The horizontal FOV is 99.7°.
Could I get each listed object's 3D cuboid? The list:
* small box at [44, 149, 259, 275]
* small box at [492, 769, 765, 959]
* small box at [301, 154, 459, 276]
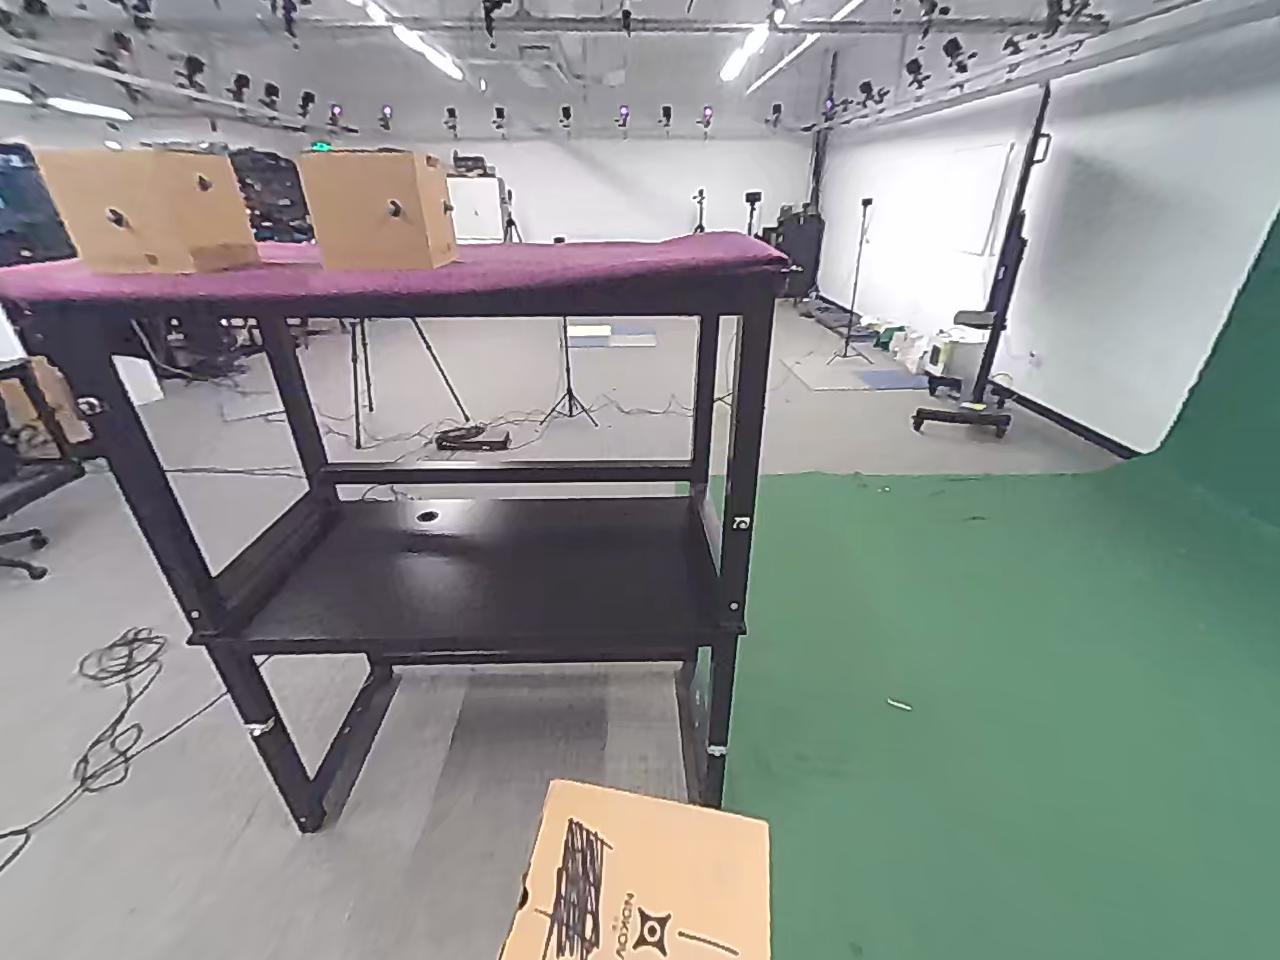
[{"bbox_3d":[-0.757,-0.427,0.868,0.168,0.176,0.179,-1,28,-4],"label":"small box"},{"bbox_3d":[-0.005,0.359,0.415,0.179,0.176,0.168,8,37,7],"label":"small box"},{"bbox_3d":[-0.417,-0.442,0.906,0.179,0.176,0.168,-2,27,-2],"label":"small box"}]
